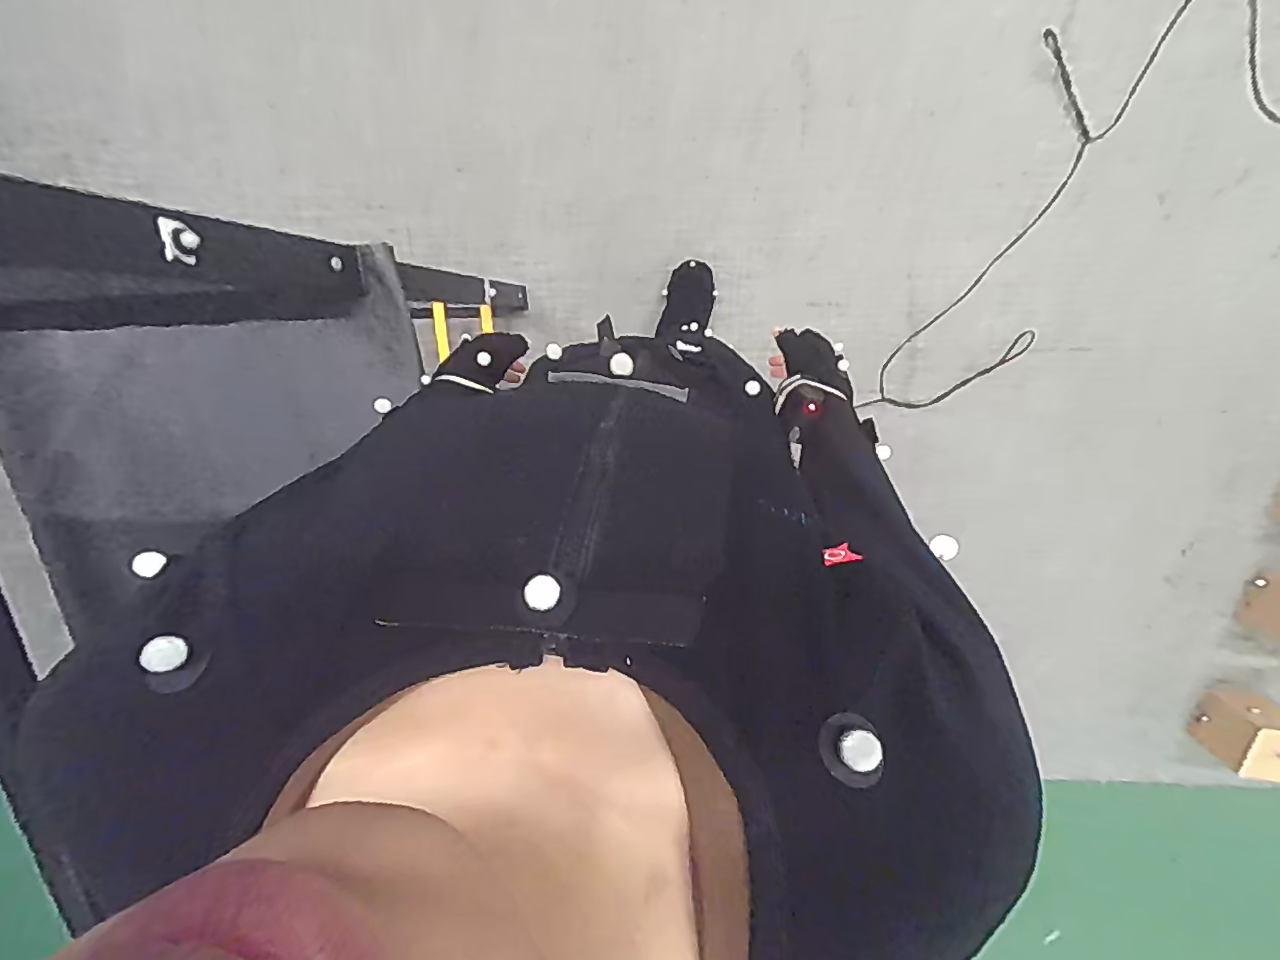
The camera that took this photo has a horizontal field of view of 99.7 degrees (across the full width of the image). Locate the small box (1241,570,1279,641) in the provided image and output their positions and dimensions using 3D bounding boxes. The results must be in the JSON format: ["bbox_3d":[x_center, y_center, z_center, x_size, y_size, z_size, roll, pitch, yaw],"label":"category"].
[{"bbox_3d":[1.755,0.350,1.405,0.179,0.176,0.168,7,108,0],"label":"small box"}]
